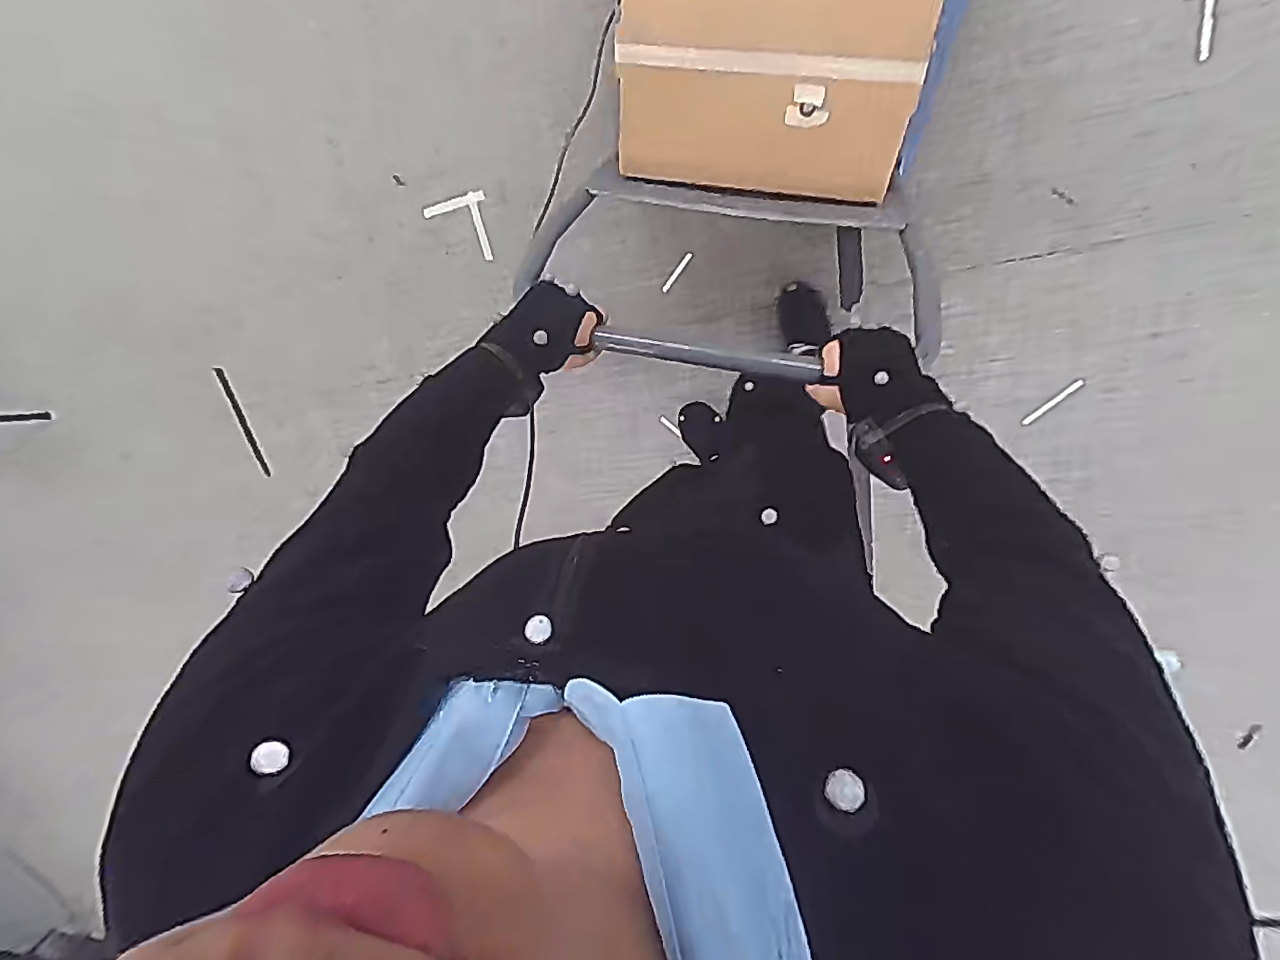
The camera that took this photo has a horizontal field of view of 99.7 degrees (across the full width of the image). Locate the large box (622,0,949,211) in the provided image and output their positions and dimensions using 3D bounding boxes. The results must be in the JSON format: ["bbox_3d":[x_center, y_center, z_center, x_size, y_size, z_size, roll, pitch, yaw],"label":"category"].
[{"bbox_3d":[0.200,-0.635,0.831,0.408,0.320,0.320,10,132,7],"label":"large box"}]
